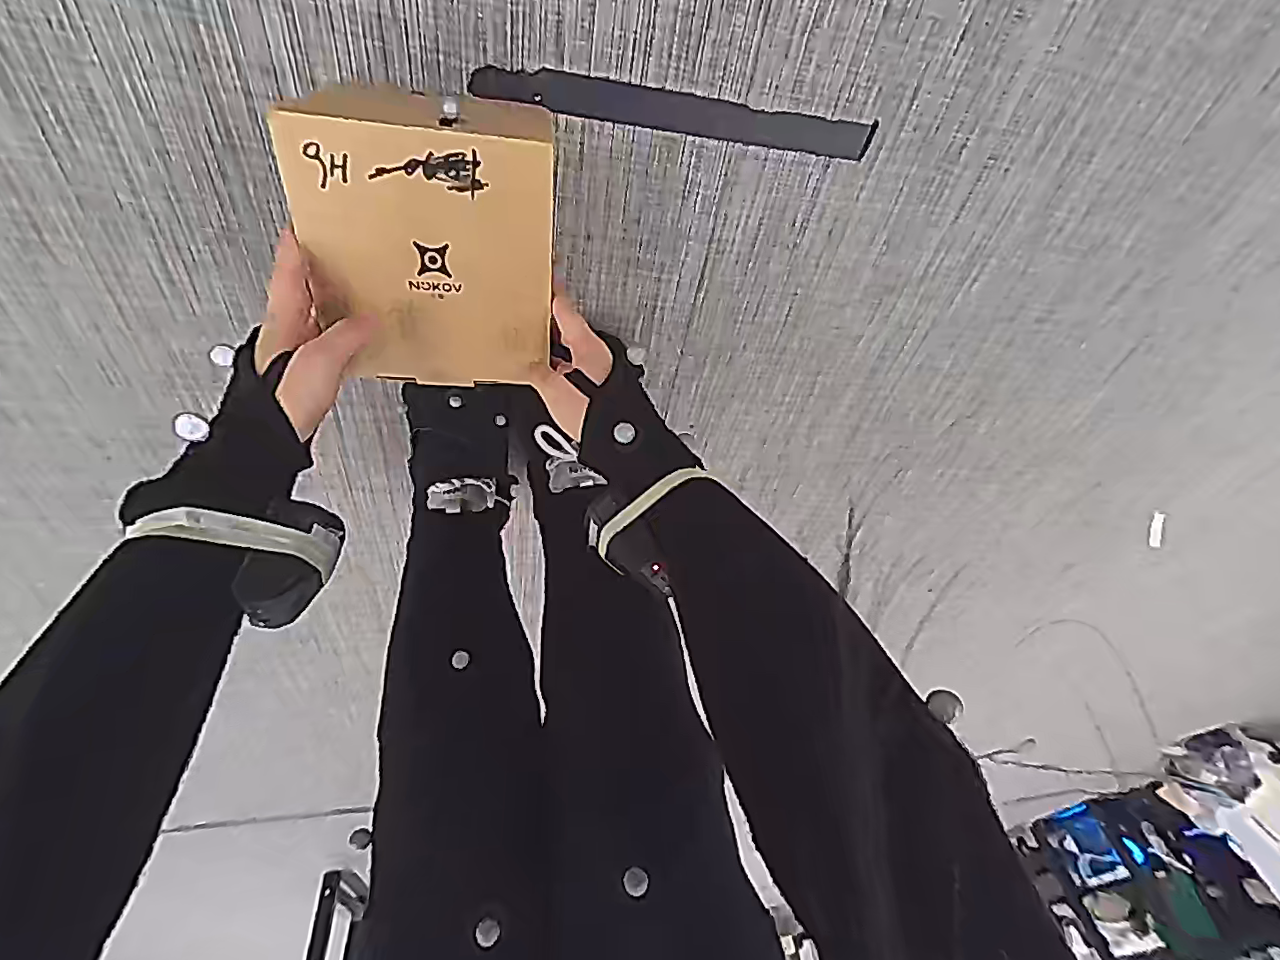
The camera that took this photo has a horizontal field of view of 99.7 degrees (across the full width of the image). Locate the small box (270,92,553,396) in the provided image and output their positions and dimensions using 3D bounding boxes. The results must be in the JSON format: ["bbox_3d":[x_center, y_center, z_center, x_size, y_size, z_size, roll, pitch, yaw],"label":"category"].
[{"bbox_3d":[-0.157,-0.189,0.440,0.168,0.176,0.179,0,131,-12],"label":"small box"}]
